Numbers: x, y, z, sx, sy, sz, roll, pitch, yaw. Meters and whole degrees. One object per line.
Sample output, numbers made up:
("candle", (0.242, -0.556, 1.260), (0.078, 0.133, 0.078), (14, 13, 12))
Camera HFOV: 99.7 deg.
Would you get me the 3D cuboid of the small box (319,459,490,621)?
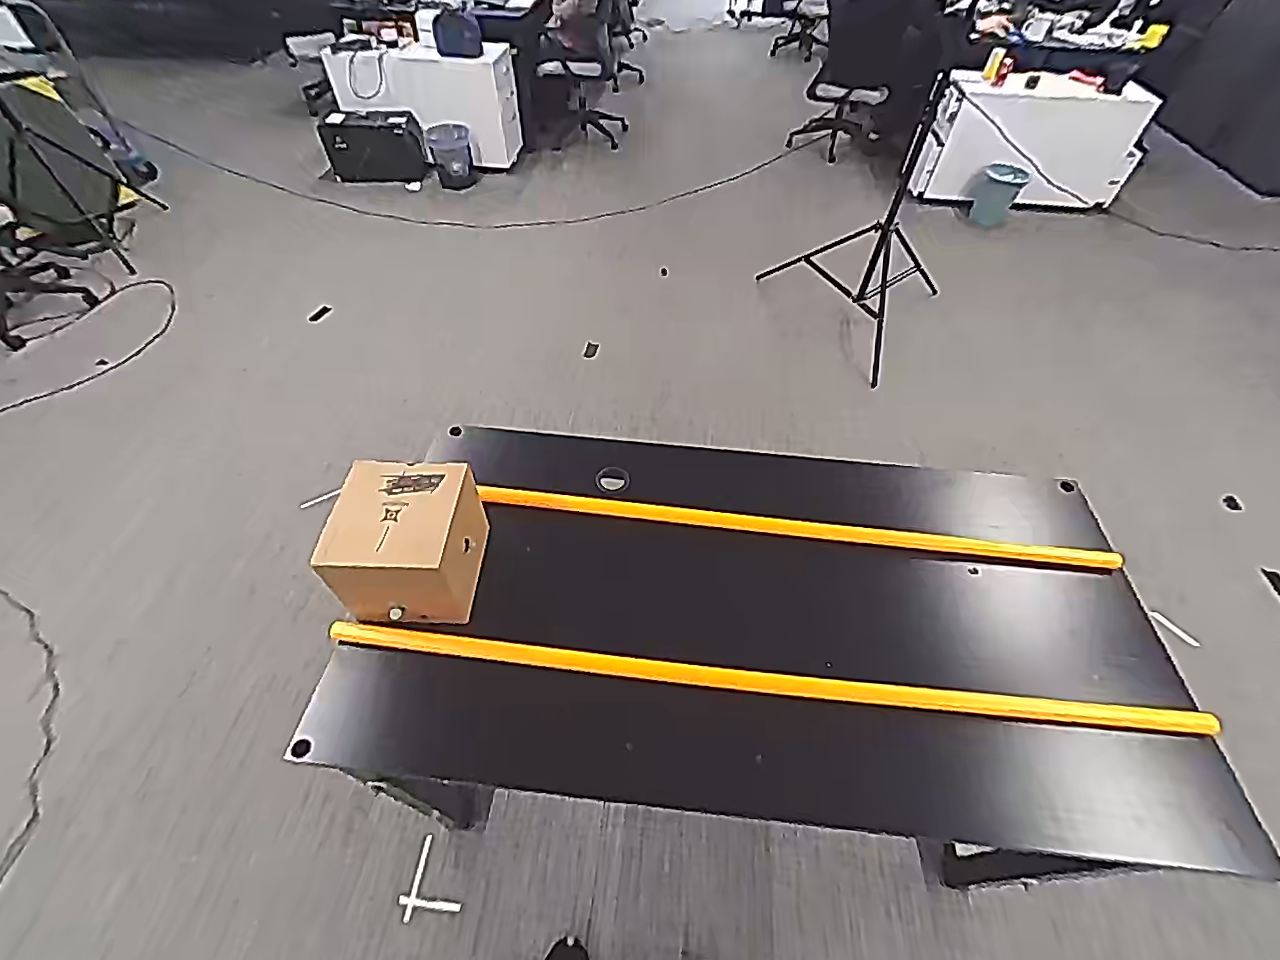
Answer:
("small box", (-0.328, 0.090, 0.798), (0.168, 0.176, 0.179), (1, 52, -1))
